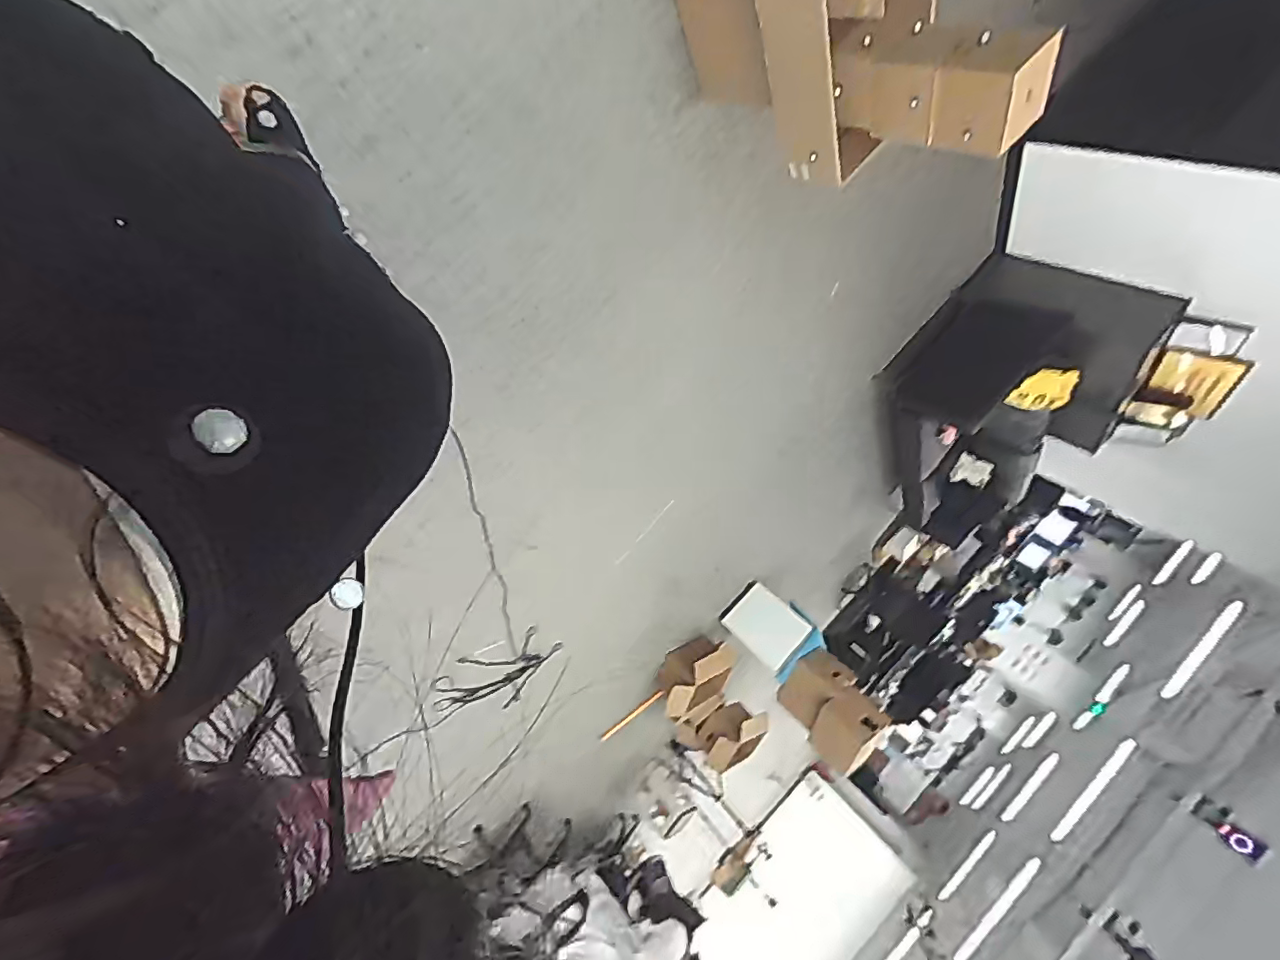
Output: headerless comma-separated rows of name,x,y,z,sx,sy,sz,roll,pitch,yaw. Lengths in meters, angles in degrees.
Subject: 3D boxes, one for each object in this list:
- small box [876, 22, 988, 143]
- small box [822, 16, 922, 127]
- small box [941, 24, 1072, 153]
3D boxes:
small box,0.685,-0.944,1.285,0.168,0.176,0.179,-44,143,-8
small box,0.581,-1.036,1.373,0.179,0.176,0.168,-43,143,-9
small box,0.793,-0.865,1.193,0.168,0.176,0.179,-45,142,-8
